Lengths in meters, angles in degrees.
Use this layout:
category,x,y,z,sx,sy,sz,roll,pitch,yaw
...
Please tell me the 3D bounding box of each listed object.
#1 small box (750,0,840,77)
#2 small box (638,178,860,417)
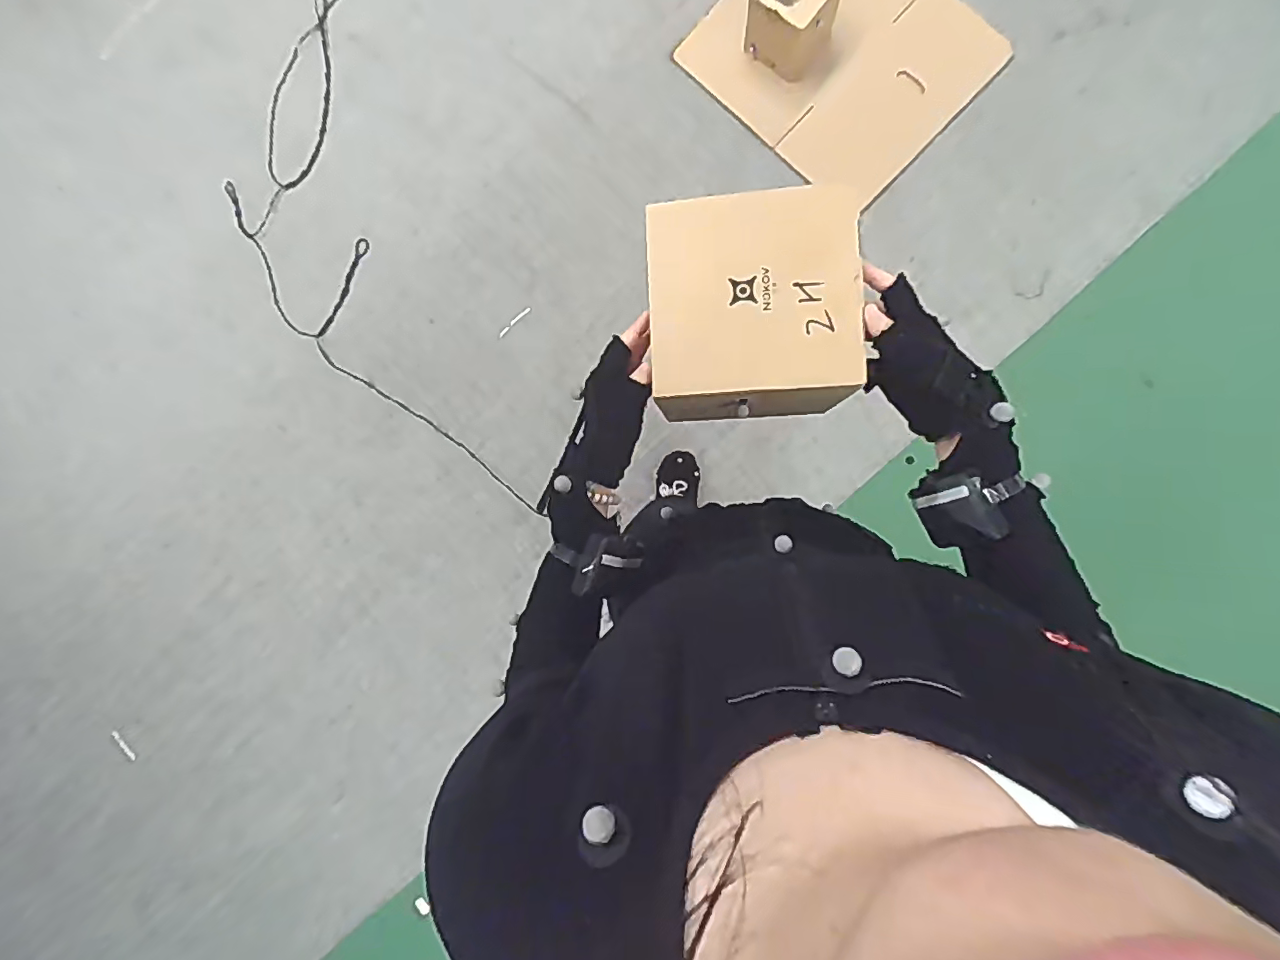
category,x,y,z,sx,sy,sz,roll,pitch,yaw
small box,0.399,-1.201,1.391,0.168,0.176,0.179,40,93,5
small box,0.098,-0.156,0.520,0.179,0.176,0.168,-2,89,7
